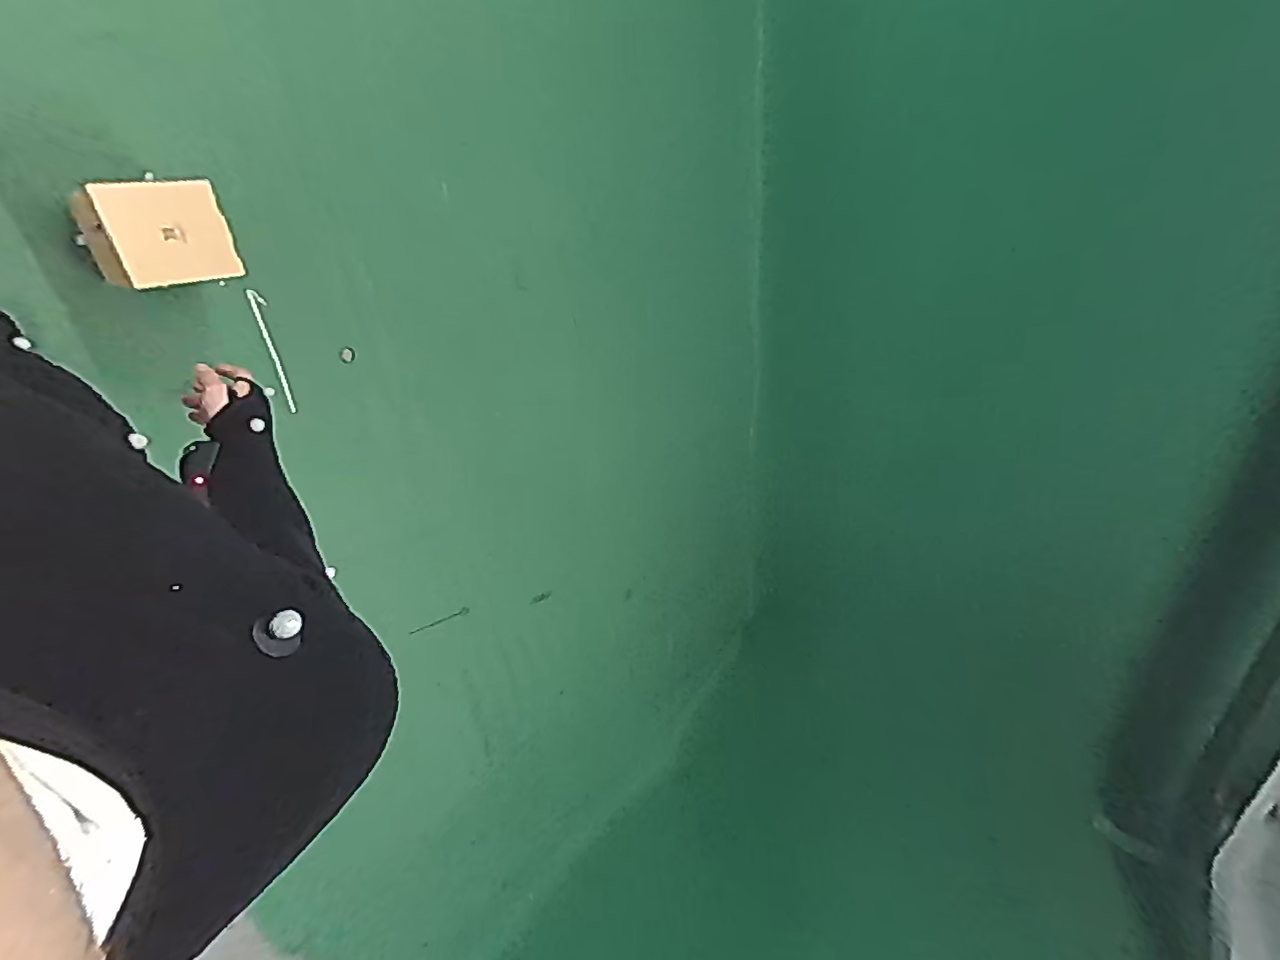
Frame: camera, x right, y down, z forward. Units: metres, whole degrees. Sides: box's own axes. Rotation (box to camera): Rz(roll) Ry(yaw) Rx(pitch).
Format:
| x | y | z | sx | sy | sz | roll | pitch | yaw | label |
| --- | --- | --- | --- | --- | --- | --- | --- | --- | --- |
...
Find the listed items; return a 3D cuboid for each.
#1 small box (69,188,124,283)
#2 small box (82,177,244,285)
| x | y | z | sx | sy | sz | roll | pitch | yaw | label |
| --- | --- | --- | --- | --- | --- | --- | --- | --- | --- |
| -1.015 | -0.504 | 1.112 | 0.179 | 0.176 | 0.168 | -30 | 125 | -40 | small box |
| -0.894 | -0.463 | 1.013 | 0.179 | 0.176 | 0.168 | -32 | 126 | -41 | small box |
